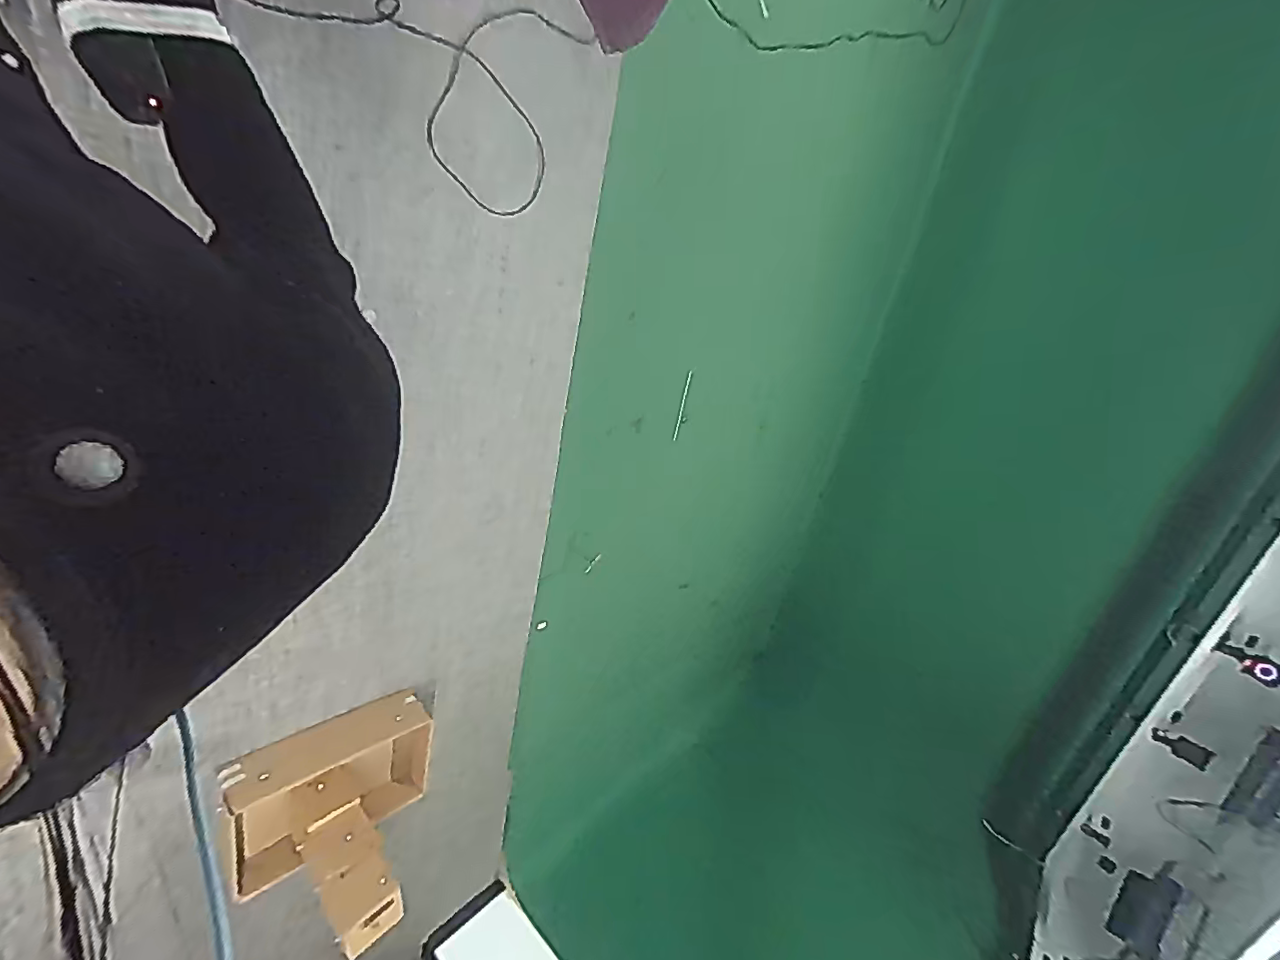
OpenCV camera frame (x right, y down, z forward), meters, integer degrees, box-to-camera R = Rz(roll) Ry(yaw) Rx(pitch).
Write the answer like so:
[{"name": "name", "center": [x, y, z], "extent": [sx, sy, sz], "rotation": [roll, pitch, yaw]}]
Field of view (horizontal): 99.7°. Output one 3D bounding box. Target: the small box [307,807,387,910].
[{"name": "small box", "center": [-0.943, 1.208, 1.743], "extent": [0.179, 0.176, 0.168], "rotation": [-17, 125, -48]}]

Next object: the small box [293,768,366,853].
[{"name": "small box", "center": [-1.055, 1.129, 1.835], "extent": [0.168, 0.176, 0.179], "rotation": [-12, 121, -51]}]
